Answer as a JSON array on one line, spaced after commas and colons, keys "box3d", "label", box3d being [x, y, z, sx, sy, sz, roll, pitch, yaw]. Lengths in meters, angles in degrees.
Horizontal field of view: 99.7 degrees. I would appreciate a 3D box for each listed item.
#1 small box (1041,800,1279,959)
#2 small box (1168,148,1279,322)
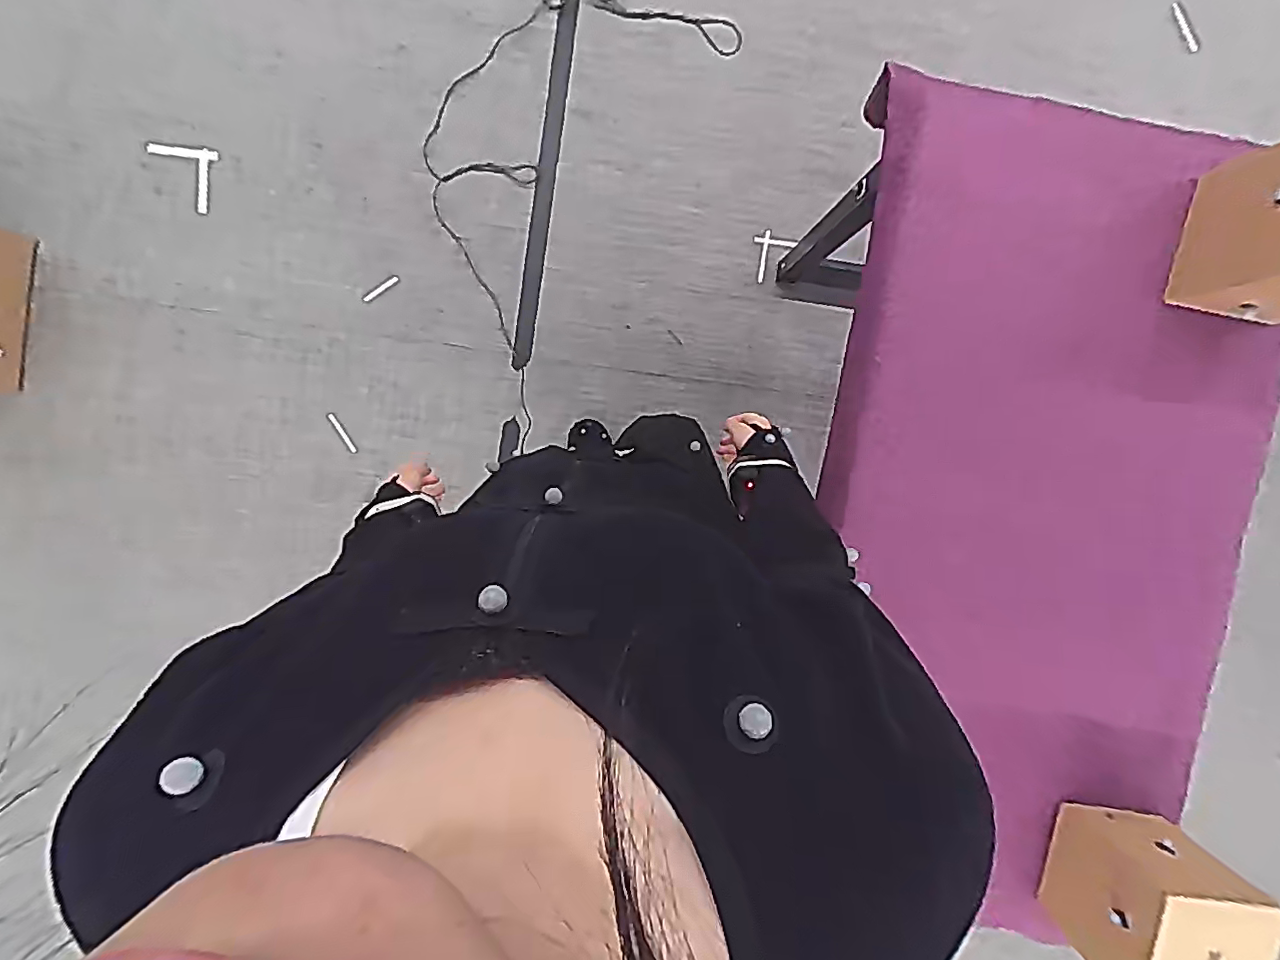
[{"box3d": [0.722, 0.597, 0.772, 0.168, 0.176, 0.179, 9, 96, -2], "label": "small box"}, {"box3d": [0.837, -0.315, 0.683, 0.168, 0.176, 0.179, 11, 97, -2], "label": "small box"}]
